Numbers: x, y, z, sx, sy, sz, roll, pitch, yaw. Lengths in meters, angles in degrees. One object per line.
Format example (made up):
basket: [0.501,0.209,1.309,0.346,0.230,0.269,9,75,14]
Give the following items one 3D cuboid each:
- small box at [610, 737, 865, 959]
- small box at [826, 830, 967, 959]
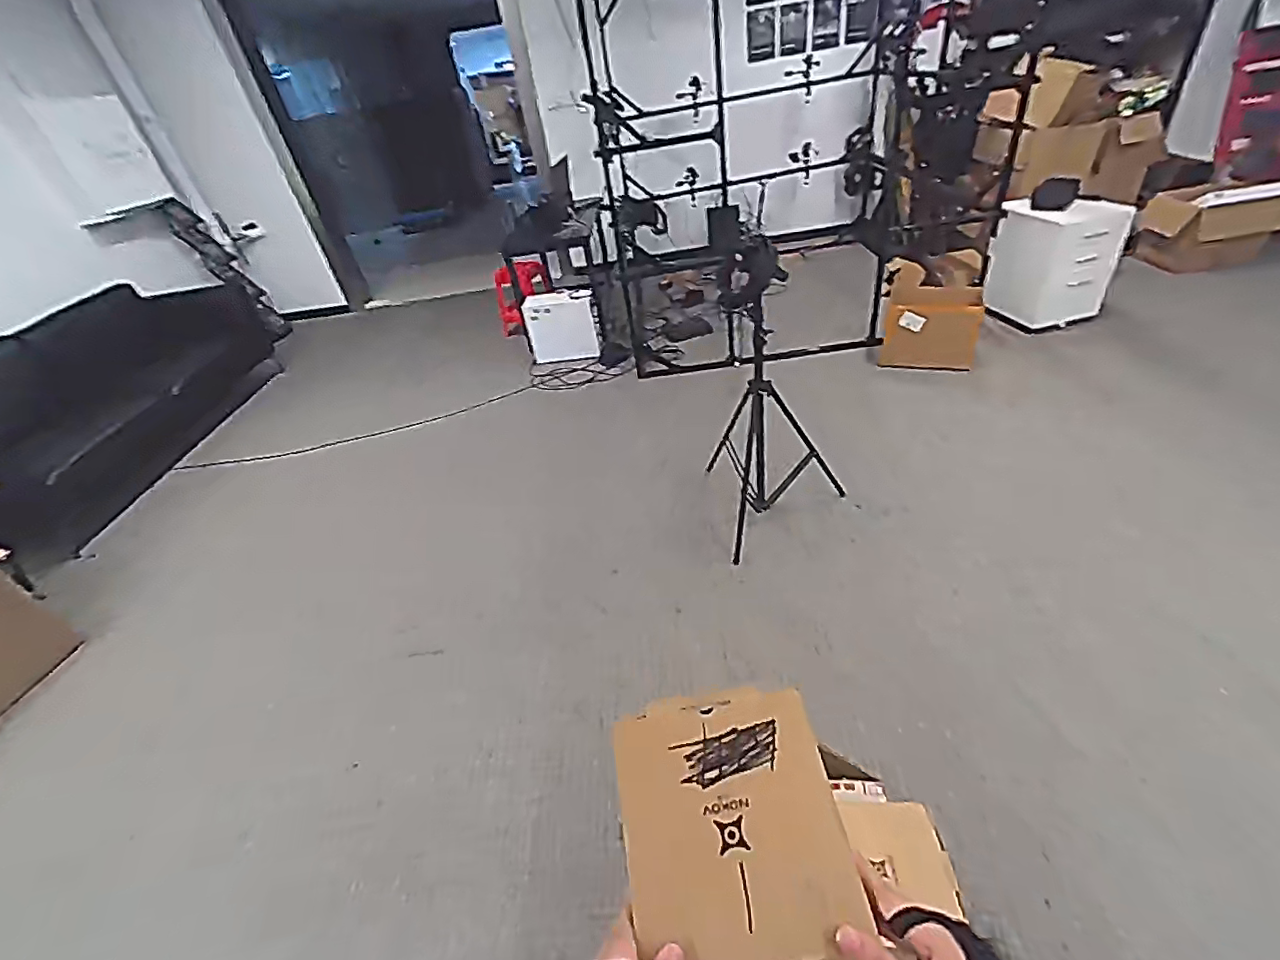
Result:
small box: [0.071,0.345,0.462,0.168,0.176,0.179,-10,51,-2]
small box: [0.324,0.615,0.760,0.179,0.176,0.168,-3,39,6]
